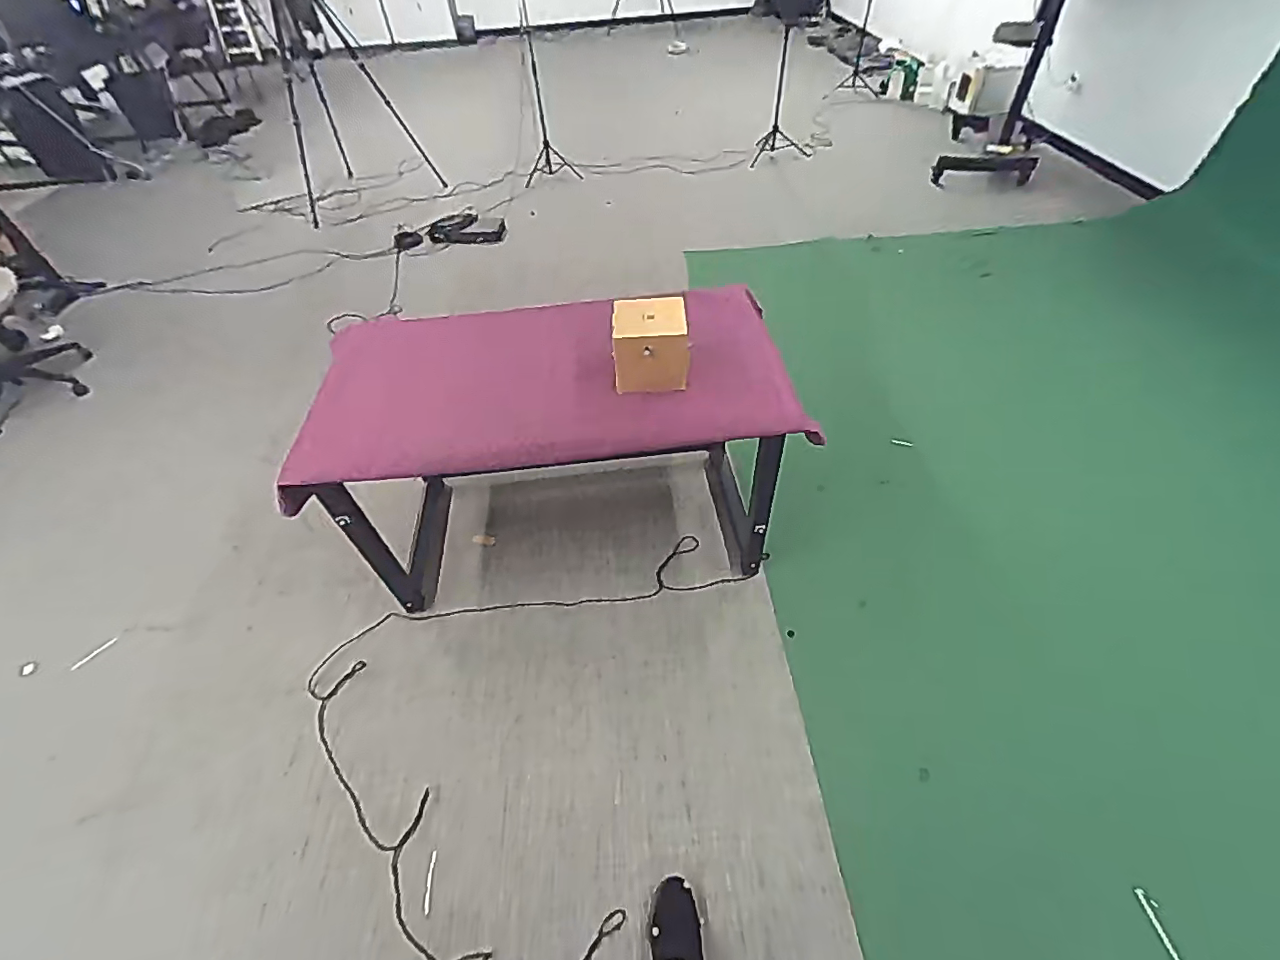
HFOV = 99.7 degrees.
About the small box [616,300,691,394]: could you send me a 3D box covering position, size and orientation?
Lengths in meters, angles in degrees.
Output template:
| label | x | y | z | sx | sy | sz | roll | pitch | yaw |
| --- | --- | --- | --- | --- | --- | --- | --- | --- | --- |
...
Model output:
| label | x | y | z | sx | sy | sz | roll | pitch | yaw |
| --- | --- | --- | --- | --- | --- | --- | --- | --- | --- |
| small box | 0.034 | -0.330 | 1.356 | 0.179 | 0.176 | 0.168 | -2 | 49 | 2 |
